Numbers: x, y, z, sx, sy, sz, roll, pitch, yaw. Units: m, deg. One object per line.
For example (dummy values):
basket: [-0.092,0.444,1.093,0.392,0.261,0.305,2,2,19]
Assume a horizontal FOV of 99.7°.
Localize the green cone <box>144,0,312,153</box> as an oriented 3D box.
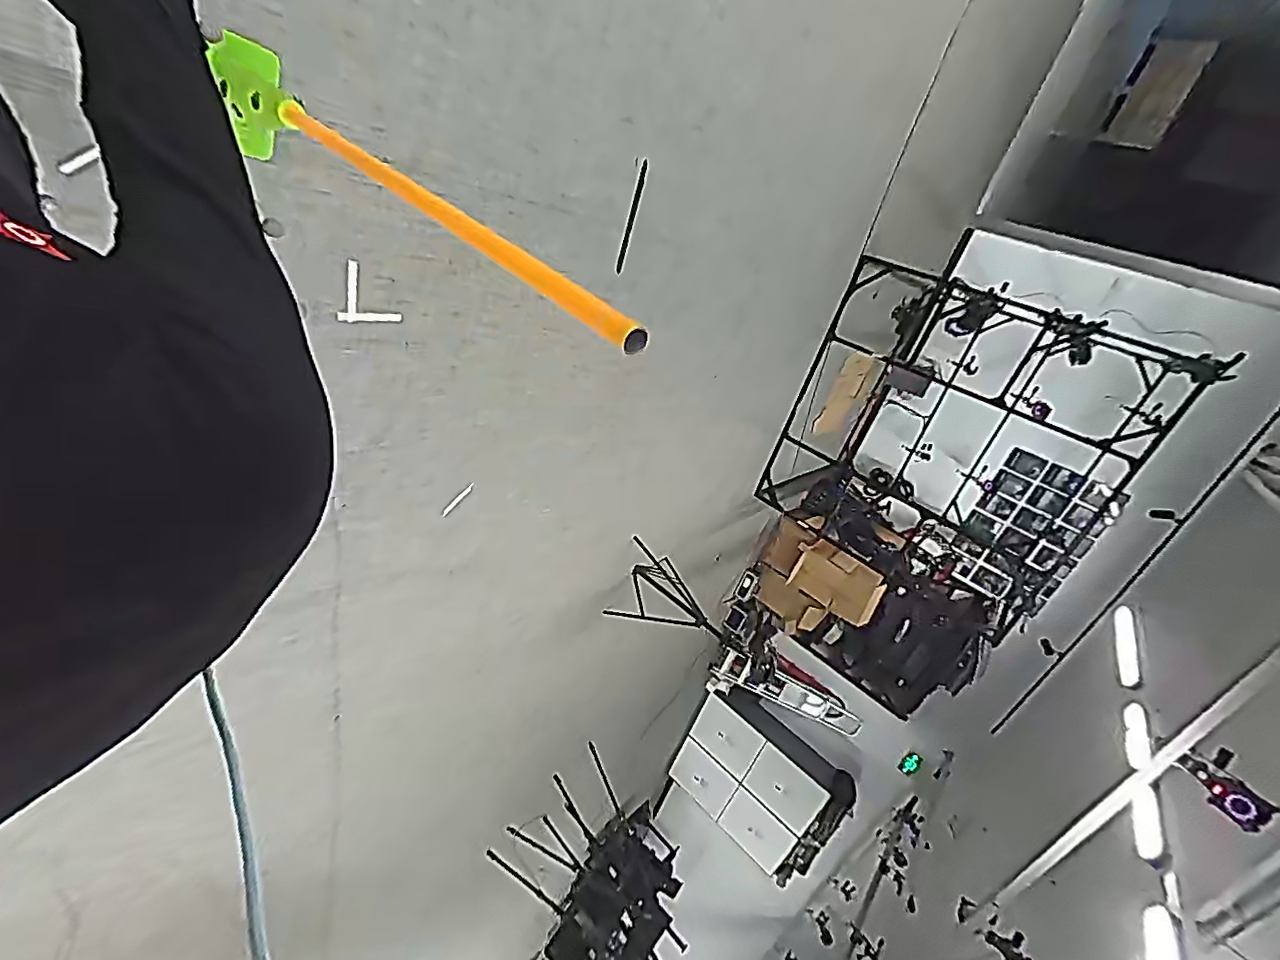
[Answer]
green cone: [-0.686,-0.676,0.950,0.202,0.368,0.200,-12,129,-54]
